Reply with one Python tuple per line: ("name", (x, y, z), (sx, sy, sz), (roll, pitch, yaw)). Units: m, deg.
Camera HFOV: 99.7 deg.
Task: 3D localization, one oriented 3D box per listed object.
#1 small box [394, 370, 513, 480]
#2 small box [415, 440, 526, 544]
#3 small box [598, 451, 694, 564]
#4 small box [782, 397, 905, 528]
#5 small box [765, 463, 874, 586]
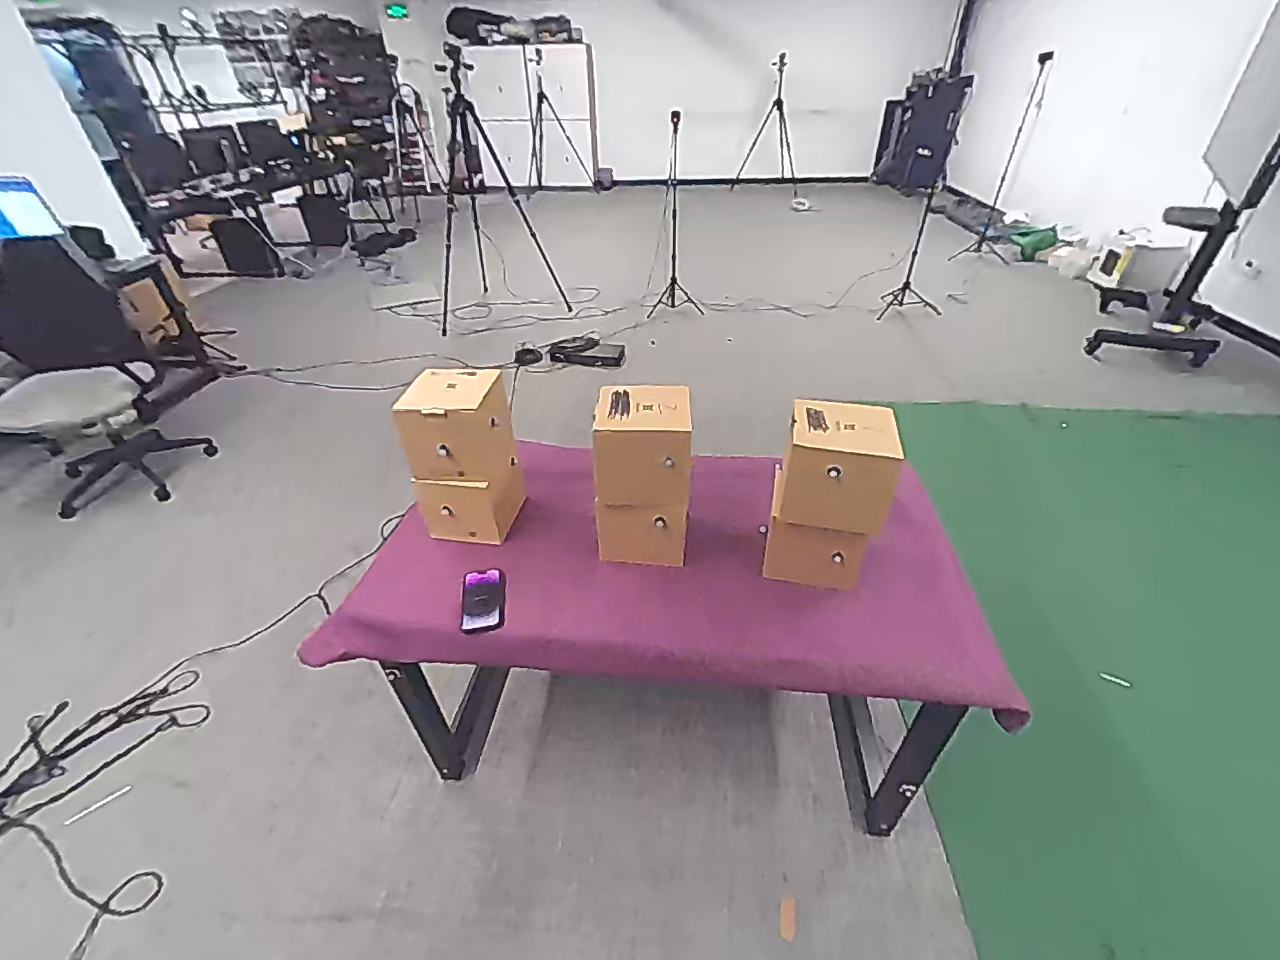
("small box", (-0.370, -0.114, 1.114), (0.168, 0.176, 0.179), (1, 38, 4))
("small box", (-0.366, 0.023, 1.206), (0.168, 0.176, 0.179), (4, 37, 8))
("small box", (0.018, 0.059, 1.136), (0.179, 0.176, 0.168), (3, 37, 8))
("small box", (0.353, -0.032, 0.969), (0.179, 0.176, 0.168), (8, 38, 12))
("small box", (0.352, 0.089, 1.080), (0.179, 0.176, 0.168), (7, 37, 13))
